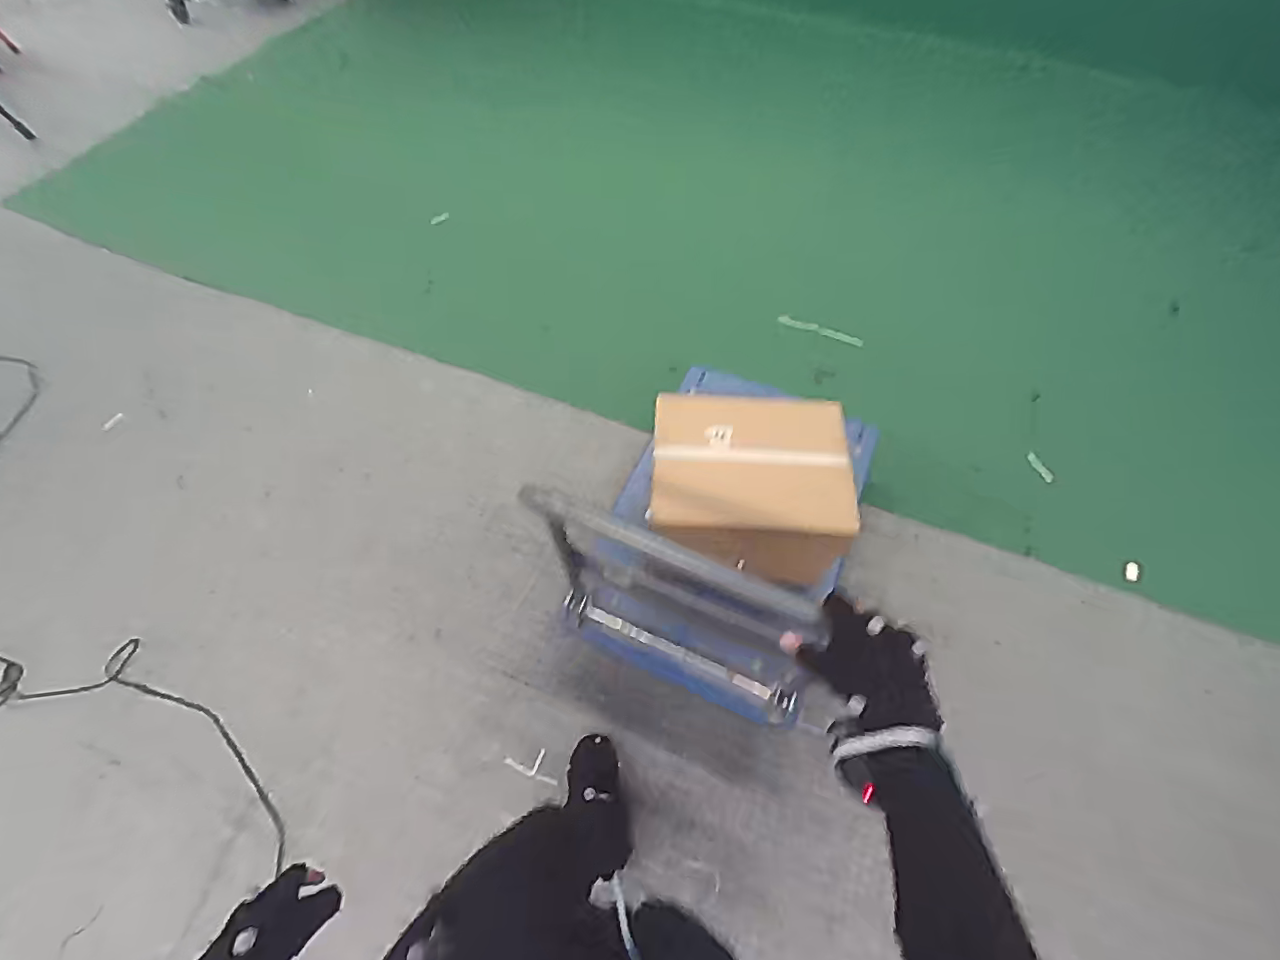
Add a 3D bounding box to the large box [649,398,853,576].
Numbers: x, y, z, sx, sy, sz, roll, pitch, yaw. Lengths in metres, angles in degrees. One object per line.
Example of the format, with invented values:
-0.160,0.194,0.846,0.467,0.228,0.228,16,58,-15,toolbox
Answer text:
0.228,0.026,1.259,0.408,0.320,0.320,2,59,2,large box
